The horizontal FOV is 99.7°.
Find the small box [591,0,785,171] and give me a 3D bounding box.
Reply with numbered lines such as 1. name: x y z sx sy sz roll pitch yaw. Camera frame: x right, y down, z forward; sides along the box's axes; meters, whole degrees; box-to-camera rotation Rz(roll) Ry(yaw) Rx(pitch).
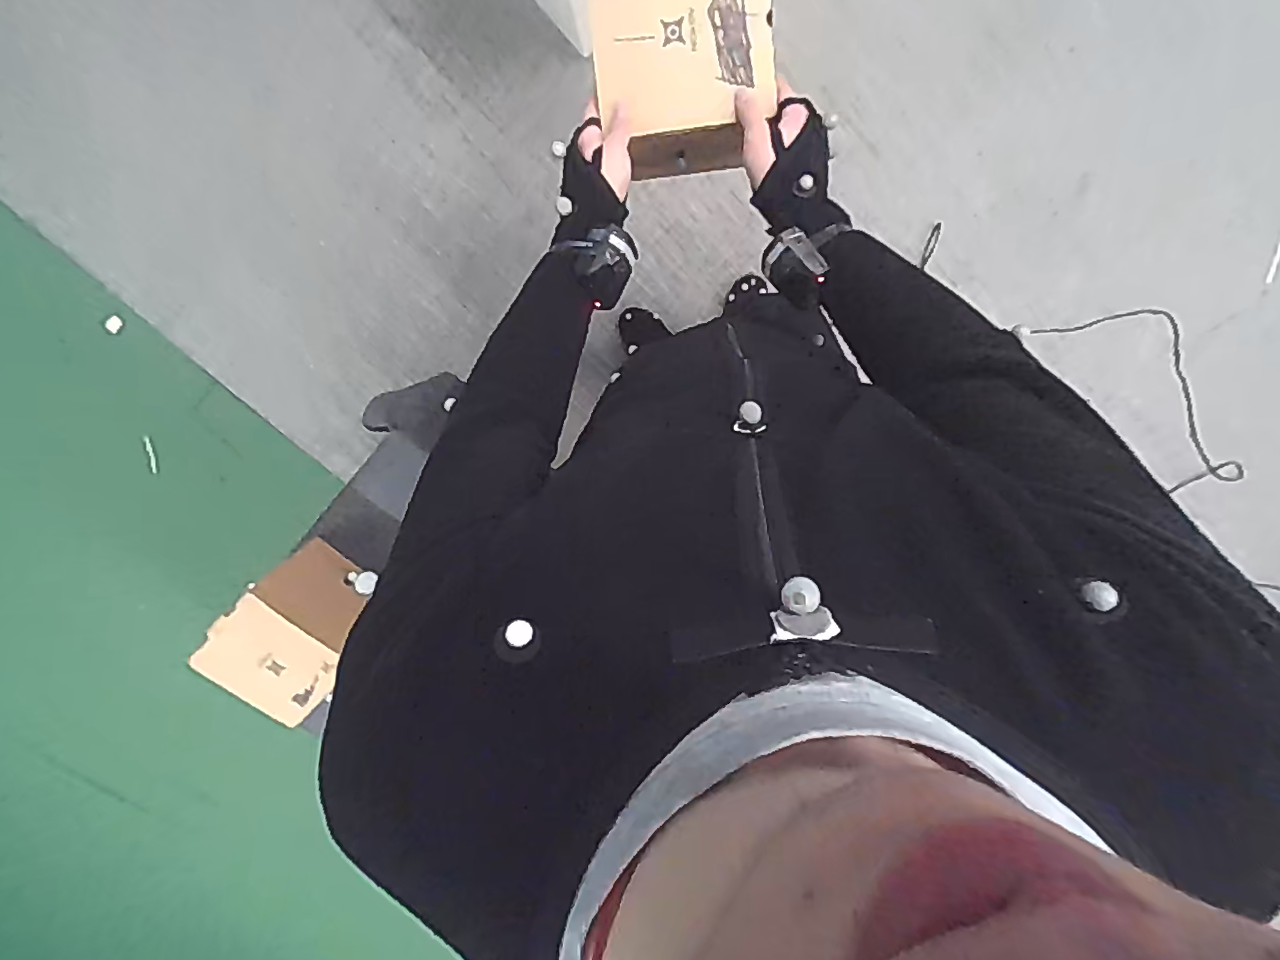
1. small box: 0.044 -0.443 0.567 0.179 0.176 0.168 -5 105 3

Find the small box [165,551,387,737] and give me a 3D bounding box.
1. small box: -0.524 0.229 0.805 0.168 0.176 0.179 -43 105 13
